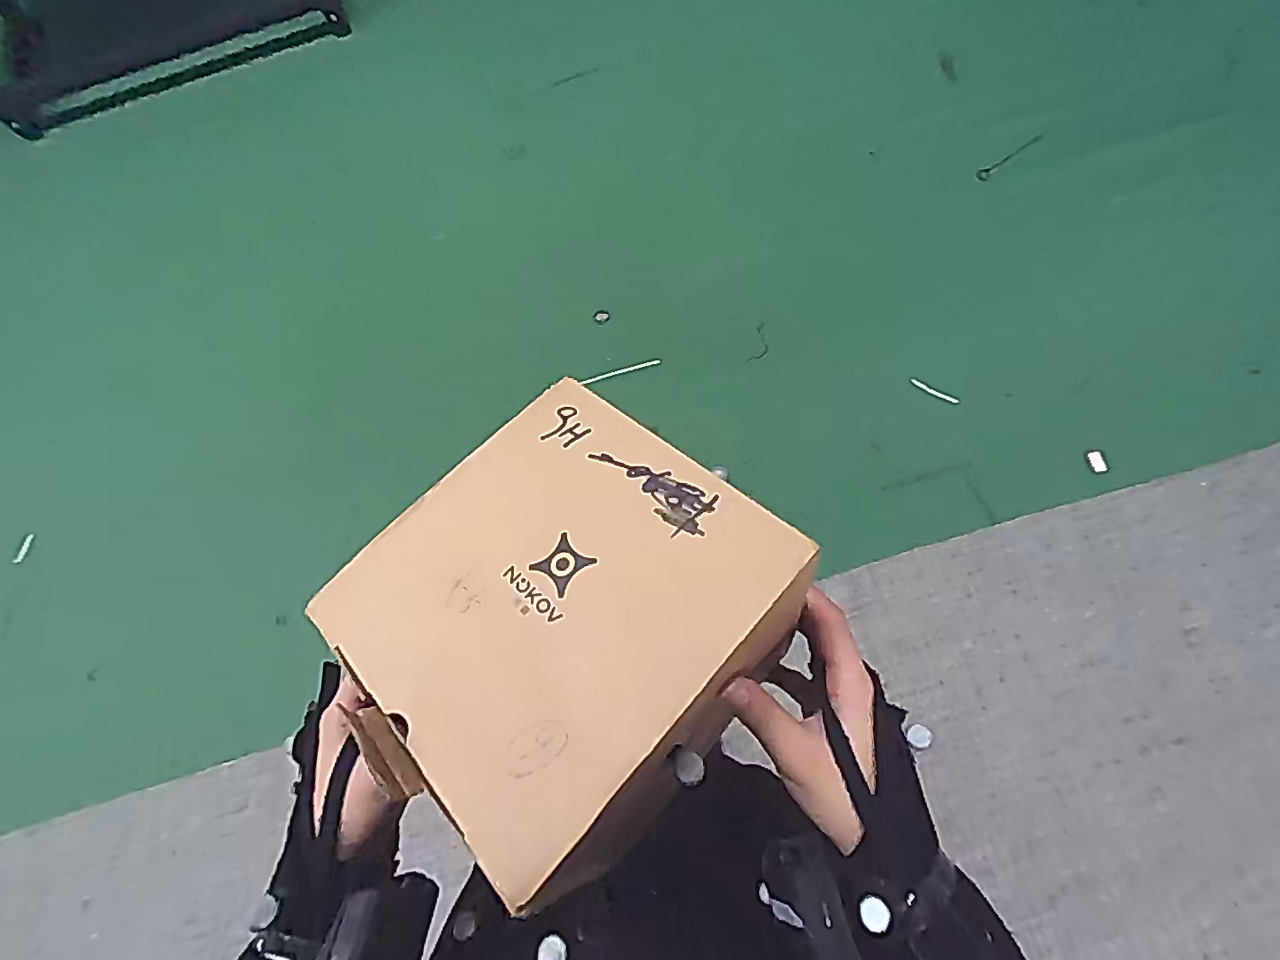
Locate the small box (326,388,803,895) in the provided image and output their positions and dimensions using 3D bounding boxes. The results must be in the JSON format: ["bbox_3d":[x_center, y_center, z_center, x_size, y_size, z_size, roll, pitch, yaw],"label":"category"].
[{"bbox_3d":[-0.026,0.088,0.317,0.168,0.176,0.179,36,72,27],"label":"small box"}]
